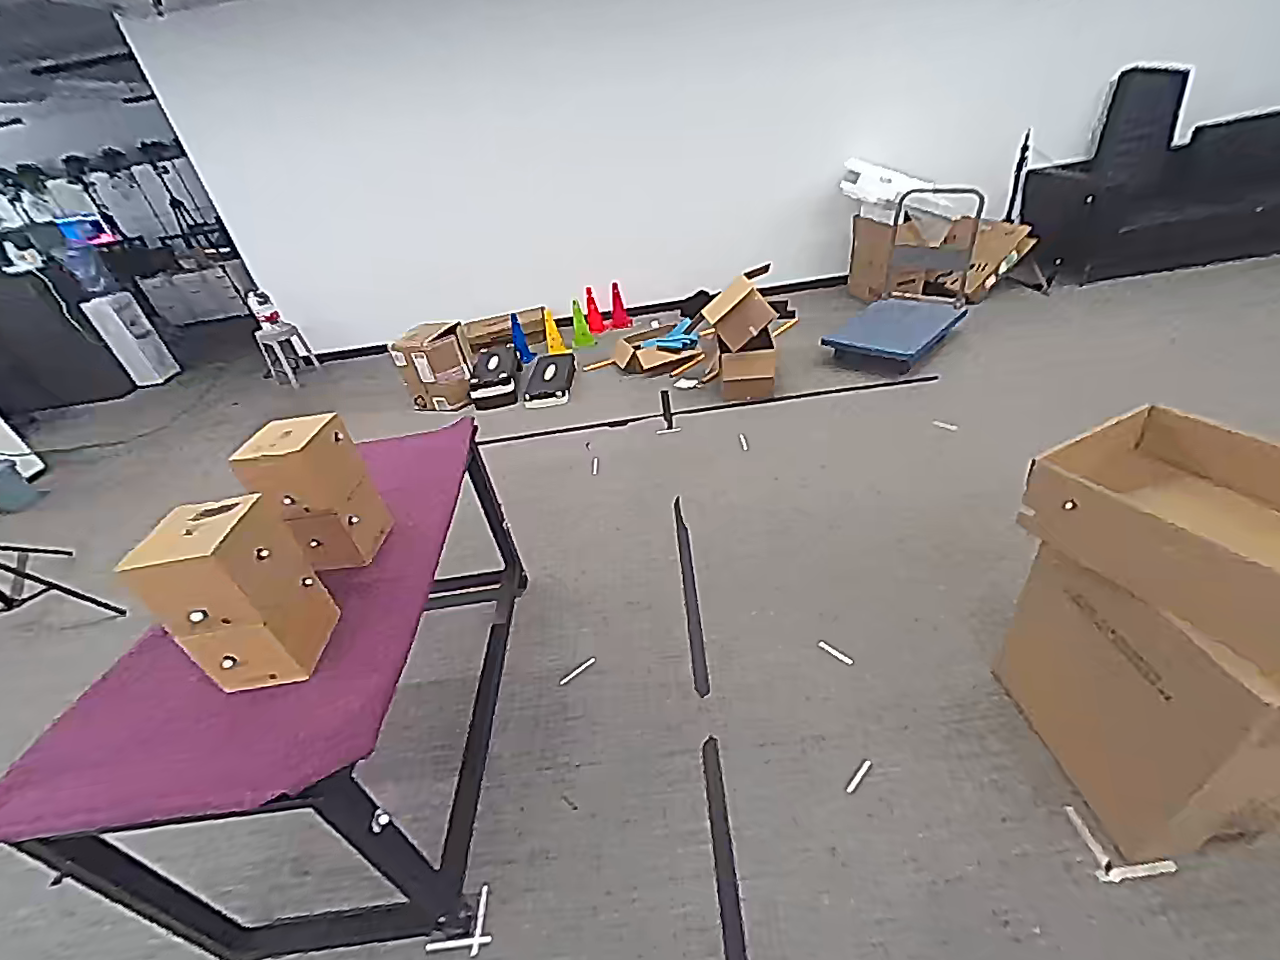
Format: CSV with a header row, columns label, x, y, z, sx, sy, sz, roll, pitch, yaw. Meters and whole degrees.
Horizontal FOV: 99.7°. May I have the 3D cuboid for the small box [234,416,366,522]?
label,x,y,z,sx,sy,sz,roll,pitch,yaw
small box,-0.763,-0.025,1.240,0.168,0.176,0.179,-7,35,5

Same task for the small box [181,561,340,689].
label,x,y,z,sx,sy,sz,roll,pitch,yaw
small box,-0.733,0.292,1.072,0.168,0.176,0.179,-10,34,0

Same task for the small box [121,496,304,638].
label,x,y,z,sx,sy,sz,roll,pitch,yaw
small box,-0.752,0.156,0.981,0.168,0.176,0.179,-10,34,0
